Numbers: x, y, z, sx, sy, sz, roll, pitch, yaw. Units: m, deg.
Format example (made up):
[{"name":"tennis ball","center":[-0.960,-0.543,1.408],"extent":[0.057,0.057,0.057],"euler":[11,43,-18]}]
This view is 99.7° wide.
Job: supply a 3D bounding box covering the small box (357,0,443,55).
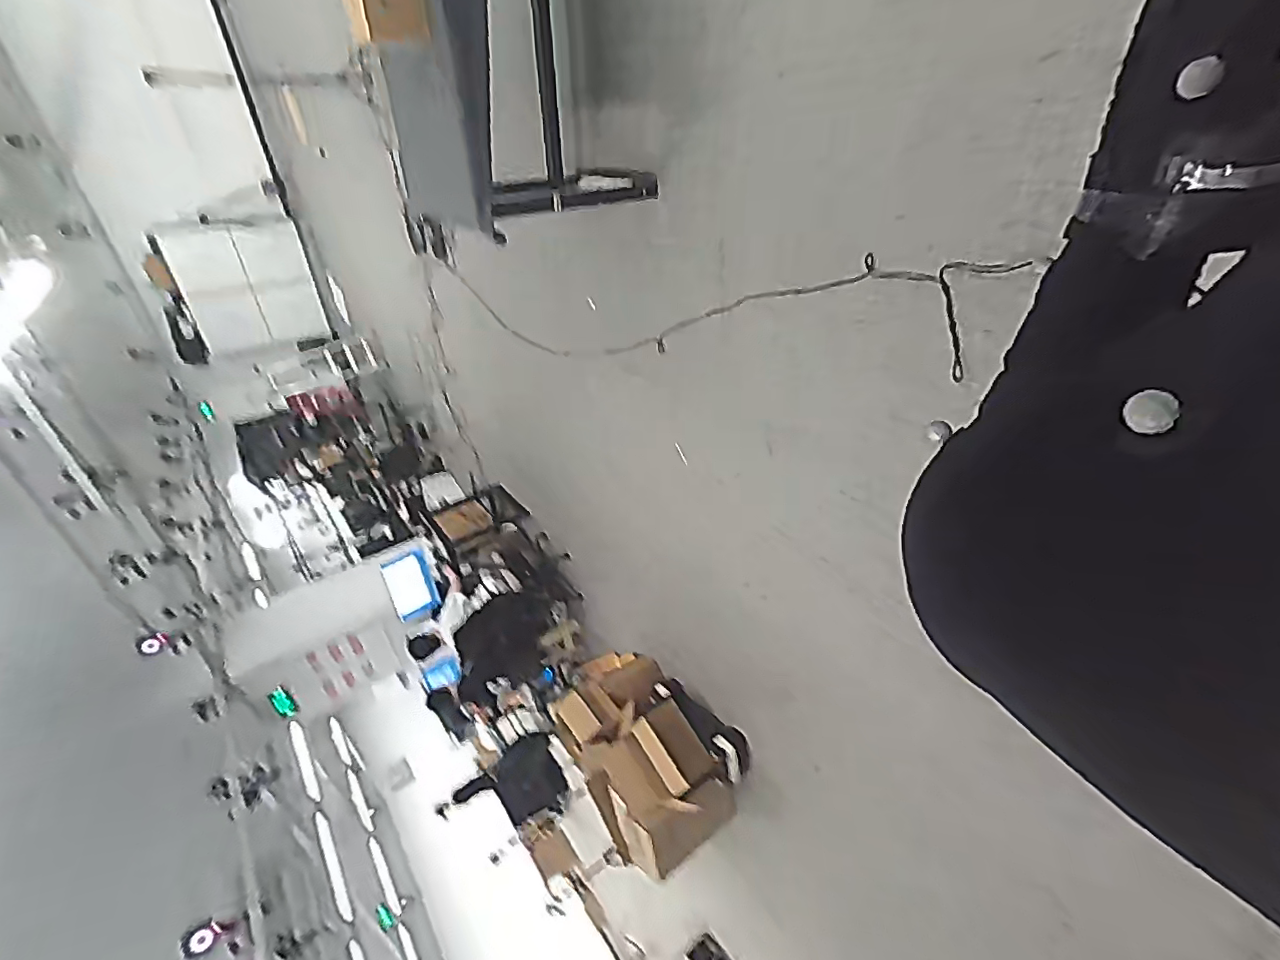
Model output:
[{"name":"small box","center":[-0.657,-1.278,1.479],"extent":[0.168,0.176,0.179],"euler":[37,139,40]}]
